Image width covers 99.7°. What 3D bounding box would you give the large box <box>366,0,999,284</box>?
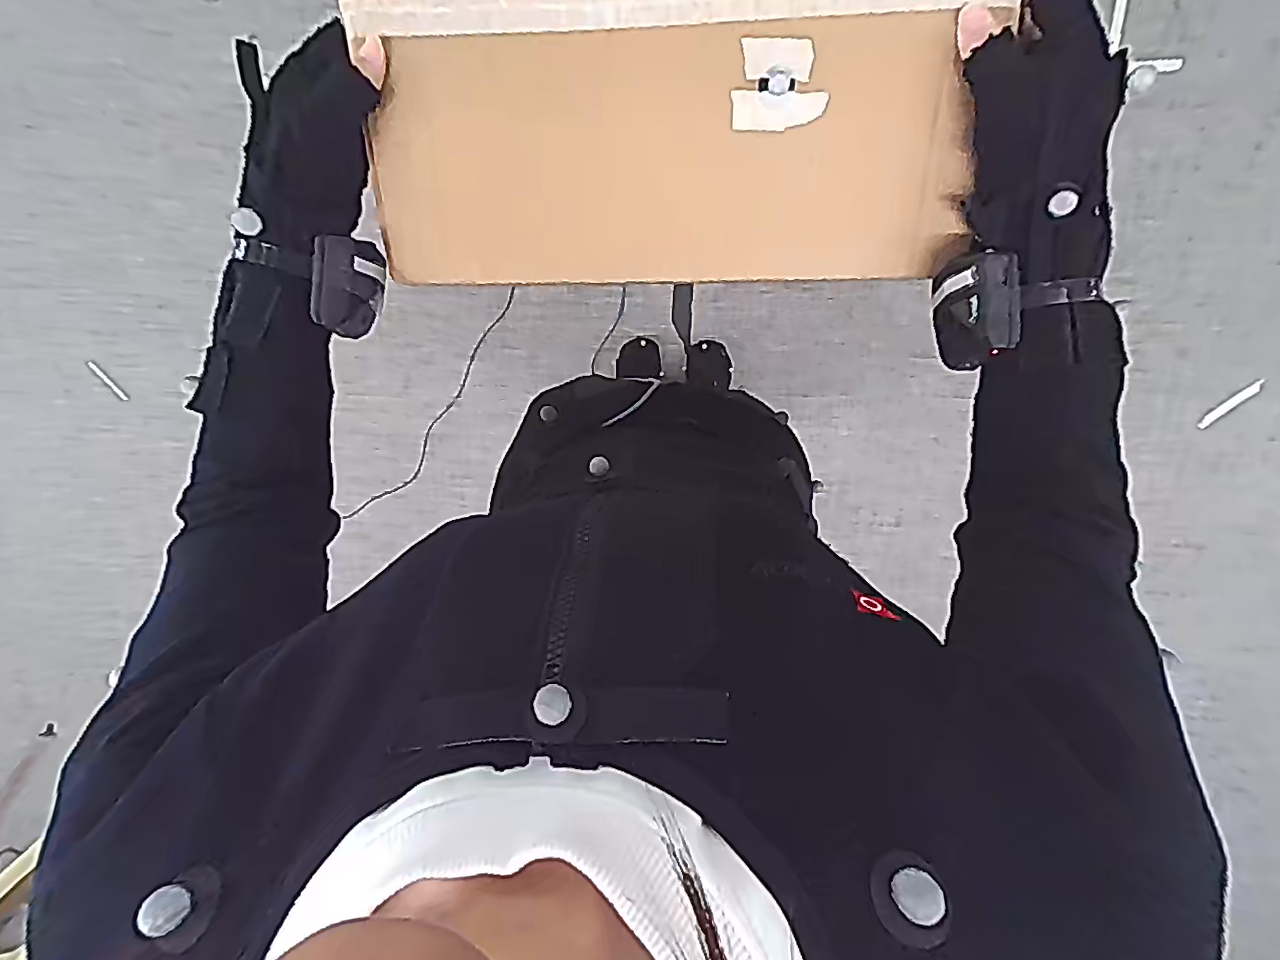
[{"bbox_3d":[0.028,-0.347,0.478,0.408,0.320,0.320,0,112,3],"label":"large box"}]
